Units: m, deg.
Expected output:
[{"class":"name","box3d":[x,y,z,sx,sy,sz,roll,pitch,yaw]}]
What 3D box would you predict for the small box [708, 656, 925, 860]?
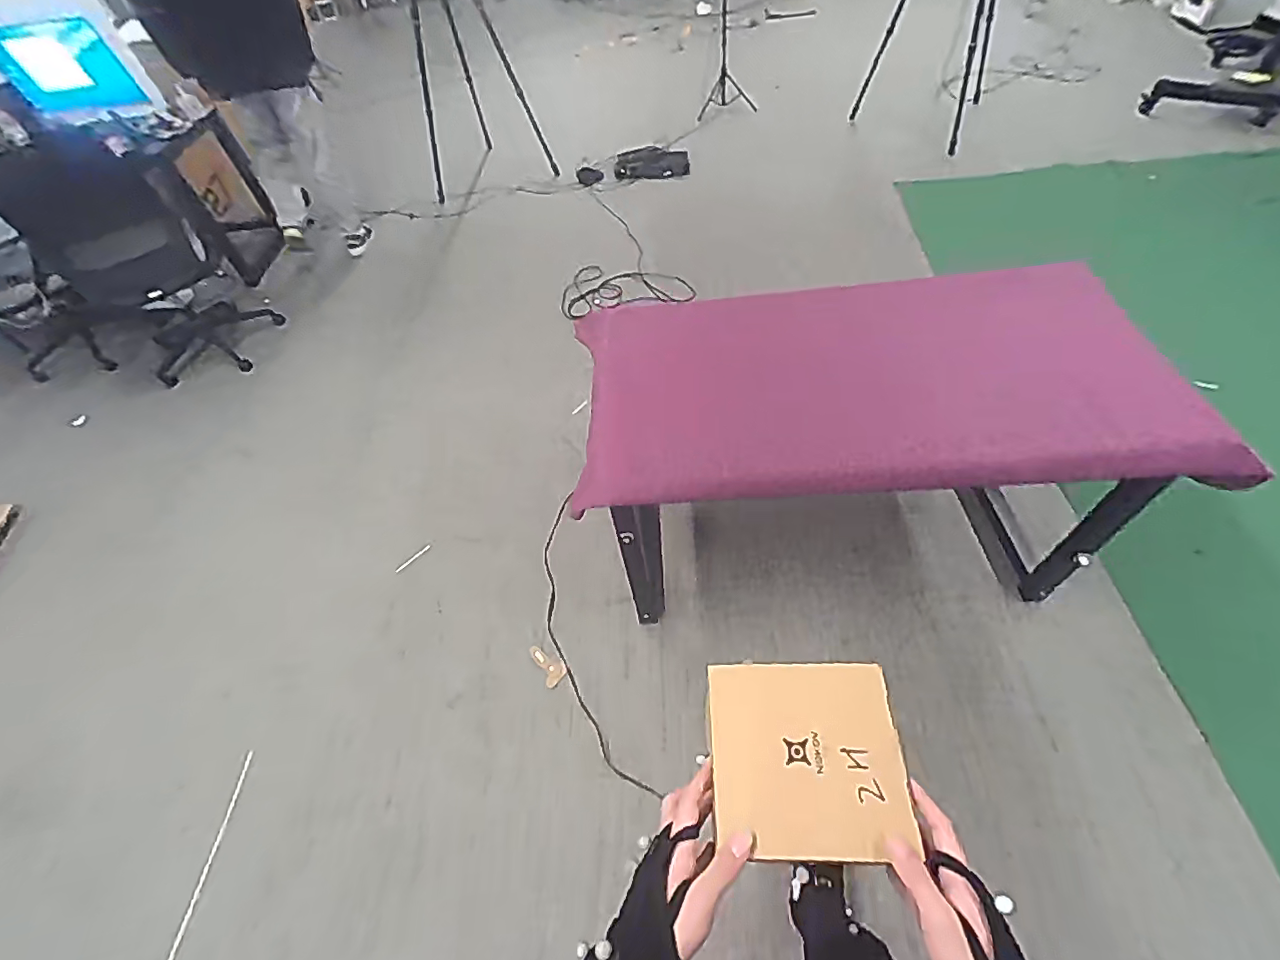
[{"class":"small box","box3d":[0.162,0.292,0.565,0.179,0.176,0.168,-1,55,5]}]
